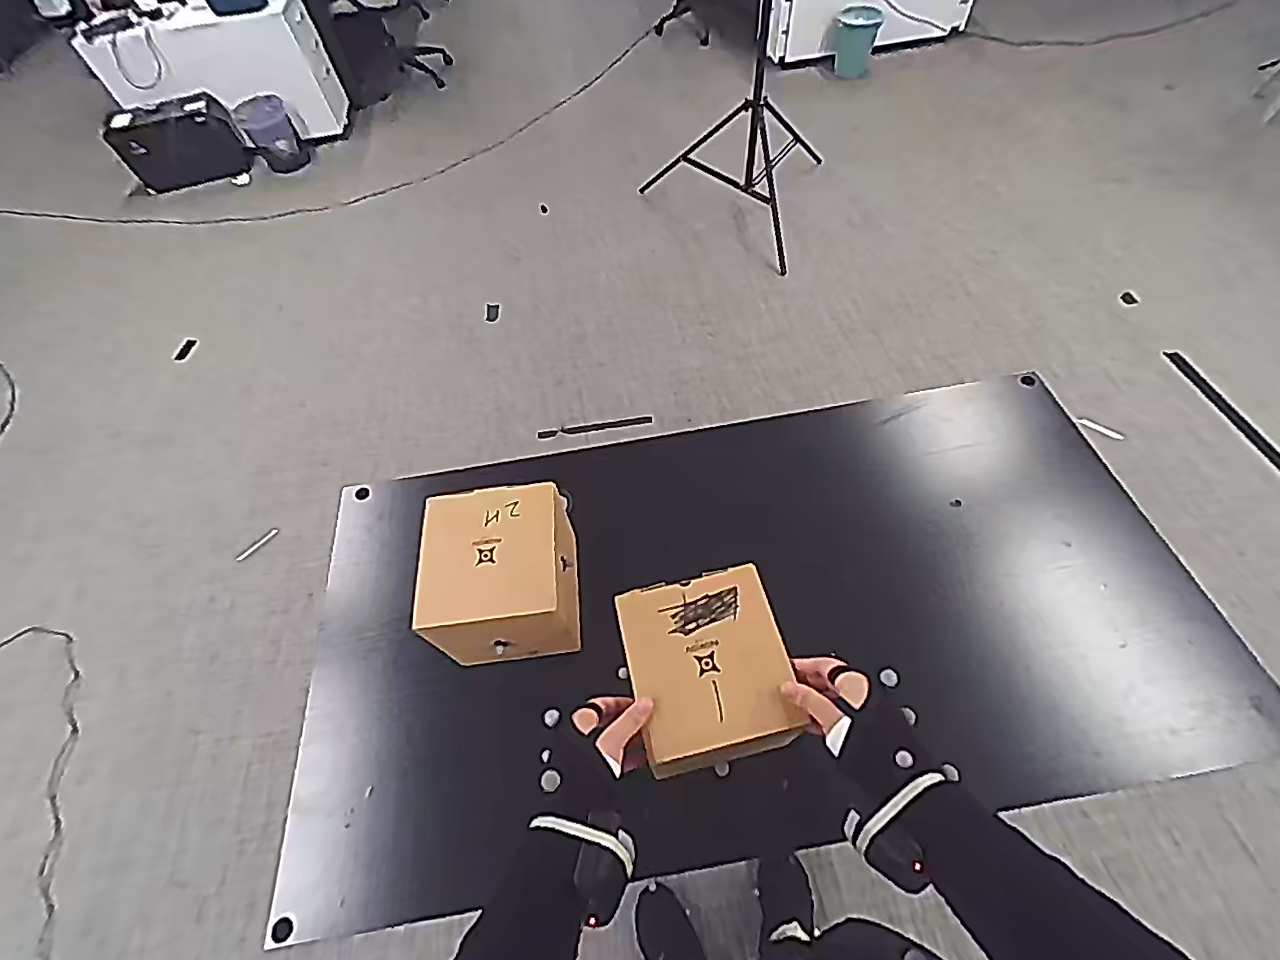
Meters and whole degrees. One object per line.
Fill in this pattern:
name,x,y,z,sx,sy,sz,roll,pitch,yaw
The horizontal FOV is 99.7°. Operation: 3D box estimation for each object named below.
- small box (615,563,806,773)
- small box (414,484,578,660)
small box,0.072,0.225,0.636,0.168,0.176,0.179,-13,57,-3
small box,-0.179,0.130,0.721,0.168,0.176,0.179,-8,57,0
